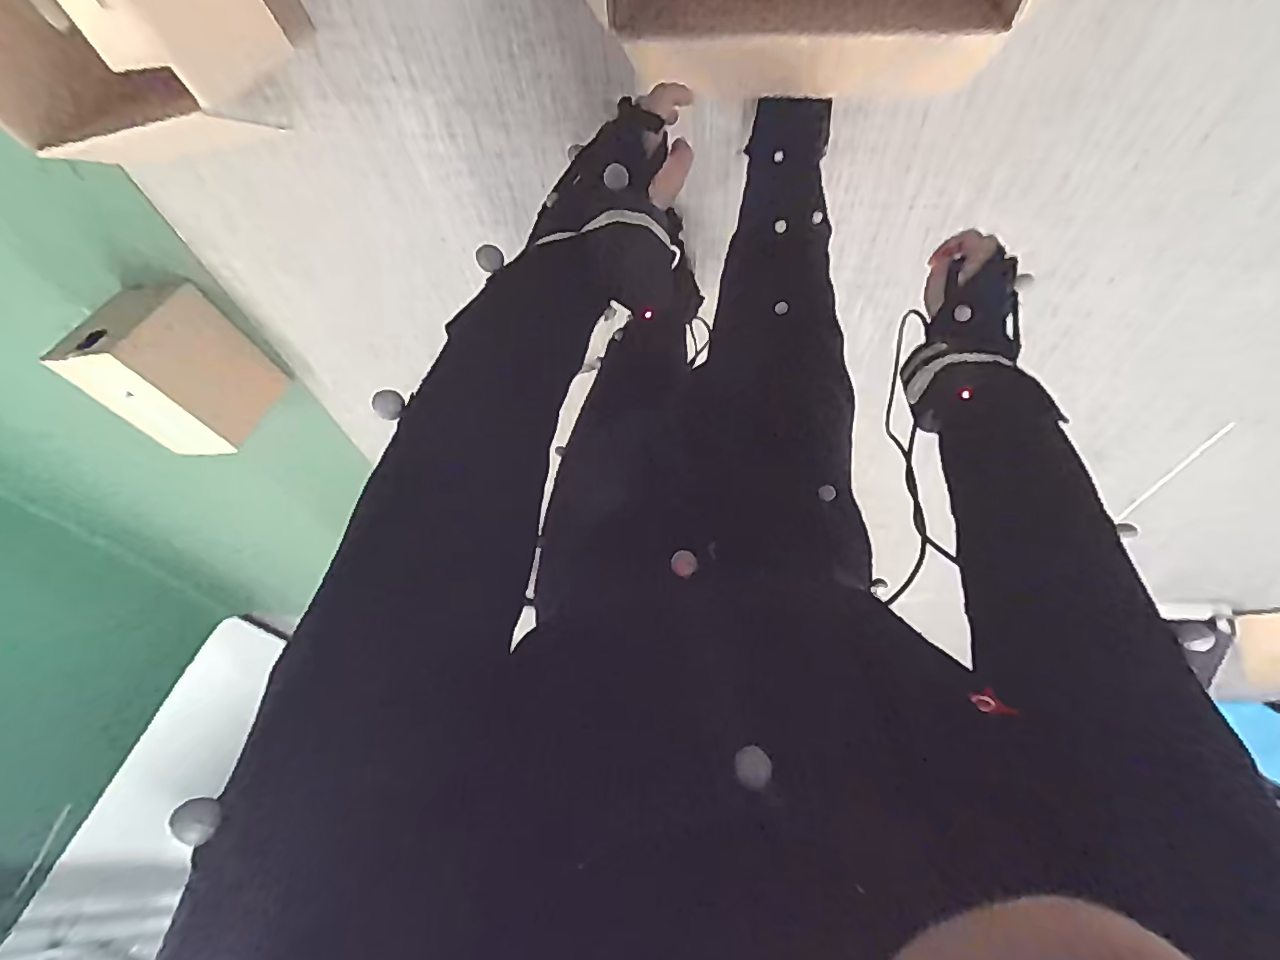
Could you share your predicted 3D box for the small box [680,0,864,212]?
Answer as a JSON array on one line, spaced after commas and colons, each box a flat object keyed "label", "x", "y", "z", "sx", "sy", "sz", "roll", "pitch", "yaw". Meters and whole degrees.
[{"label": "small box", "x": 0.191, "y": -0.528, "z": 0.799, "sx": 0.179, "sy": 0.168, "sz": 0.176, "roll": 23, "pitch": 172, "yaw": -32}]
